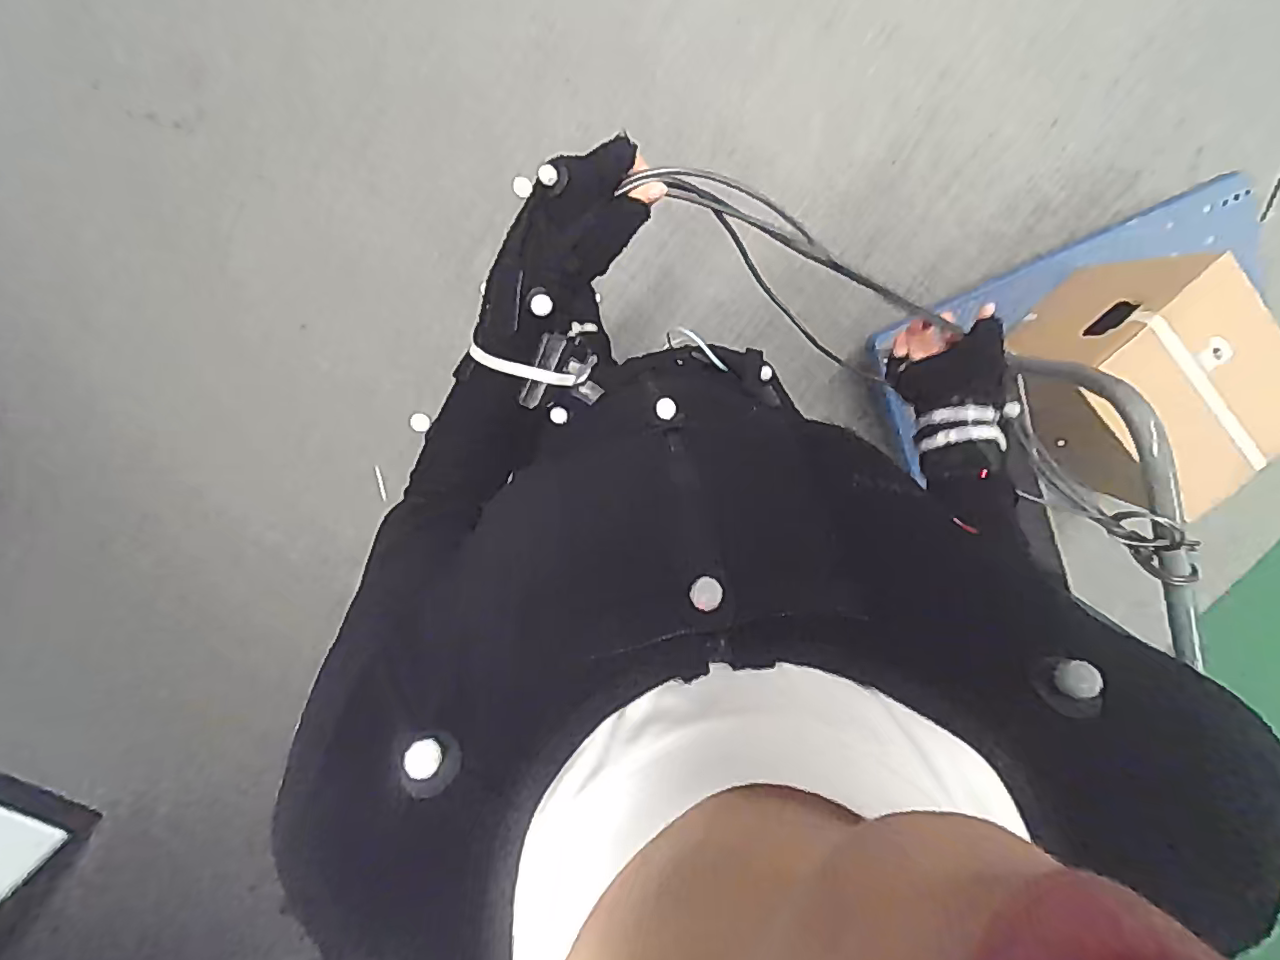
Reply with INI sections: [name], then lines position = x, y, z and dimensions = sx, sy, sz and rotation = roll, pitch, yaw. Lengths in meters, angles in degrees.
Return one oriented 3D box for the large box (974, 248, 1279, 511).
[large box]
position = 1.027, -0.210, 1.140
dimensions = 0.408, 0.320, 0.320
rotation = 42, 101, -12
